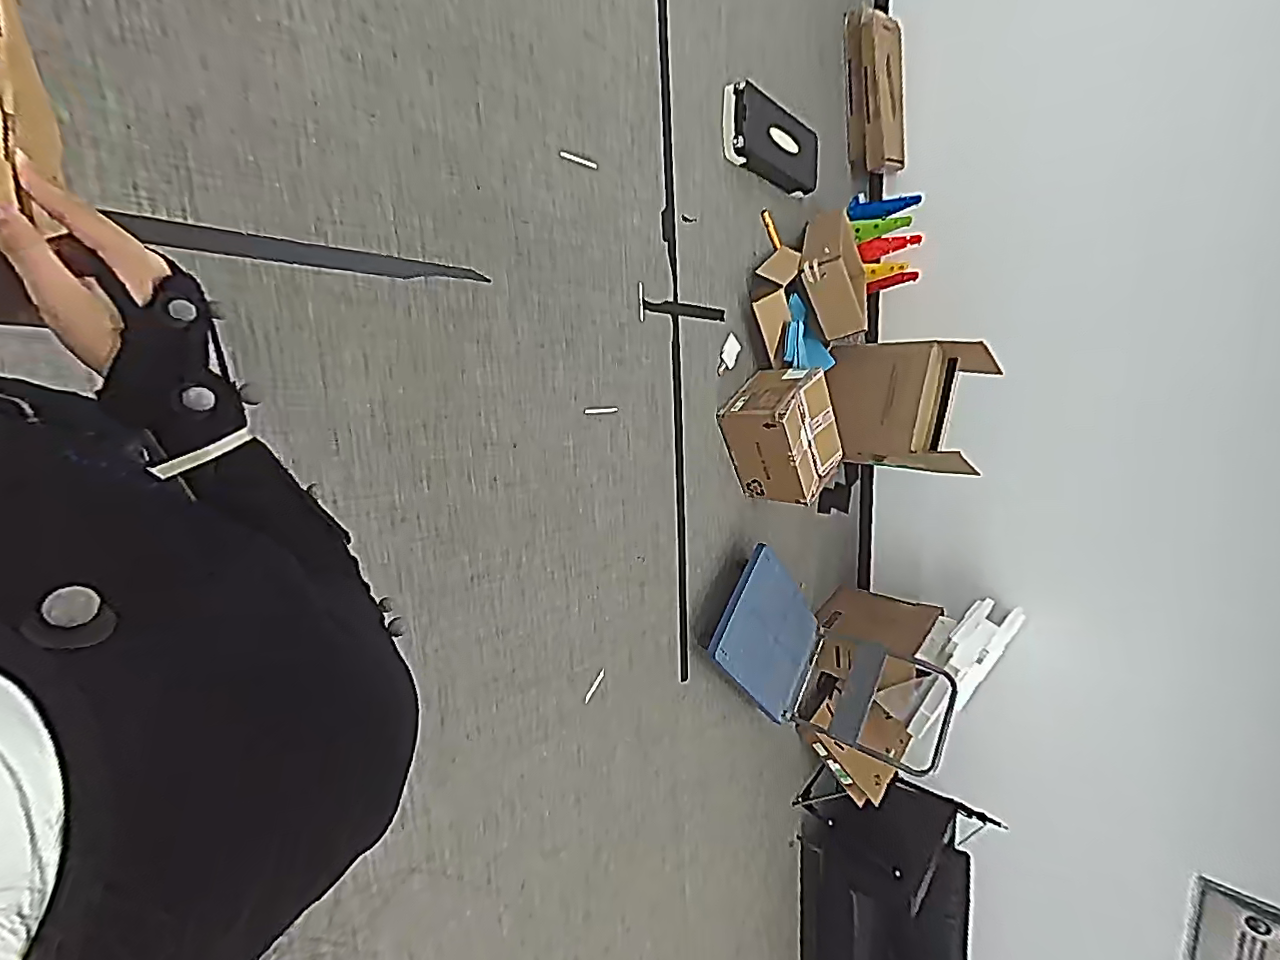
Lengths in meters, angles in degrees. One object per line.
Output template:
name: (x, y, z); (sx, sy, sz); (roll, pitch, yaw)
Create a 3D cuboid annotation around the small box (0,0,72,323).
small box: (-0.462, -0.201, 0.303); (0.179, 0.176, 0.168); (-5, 85, -41)
